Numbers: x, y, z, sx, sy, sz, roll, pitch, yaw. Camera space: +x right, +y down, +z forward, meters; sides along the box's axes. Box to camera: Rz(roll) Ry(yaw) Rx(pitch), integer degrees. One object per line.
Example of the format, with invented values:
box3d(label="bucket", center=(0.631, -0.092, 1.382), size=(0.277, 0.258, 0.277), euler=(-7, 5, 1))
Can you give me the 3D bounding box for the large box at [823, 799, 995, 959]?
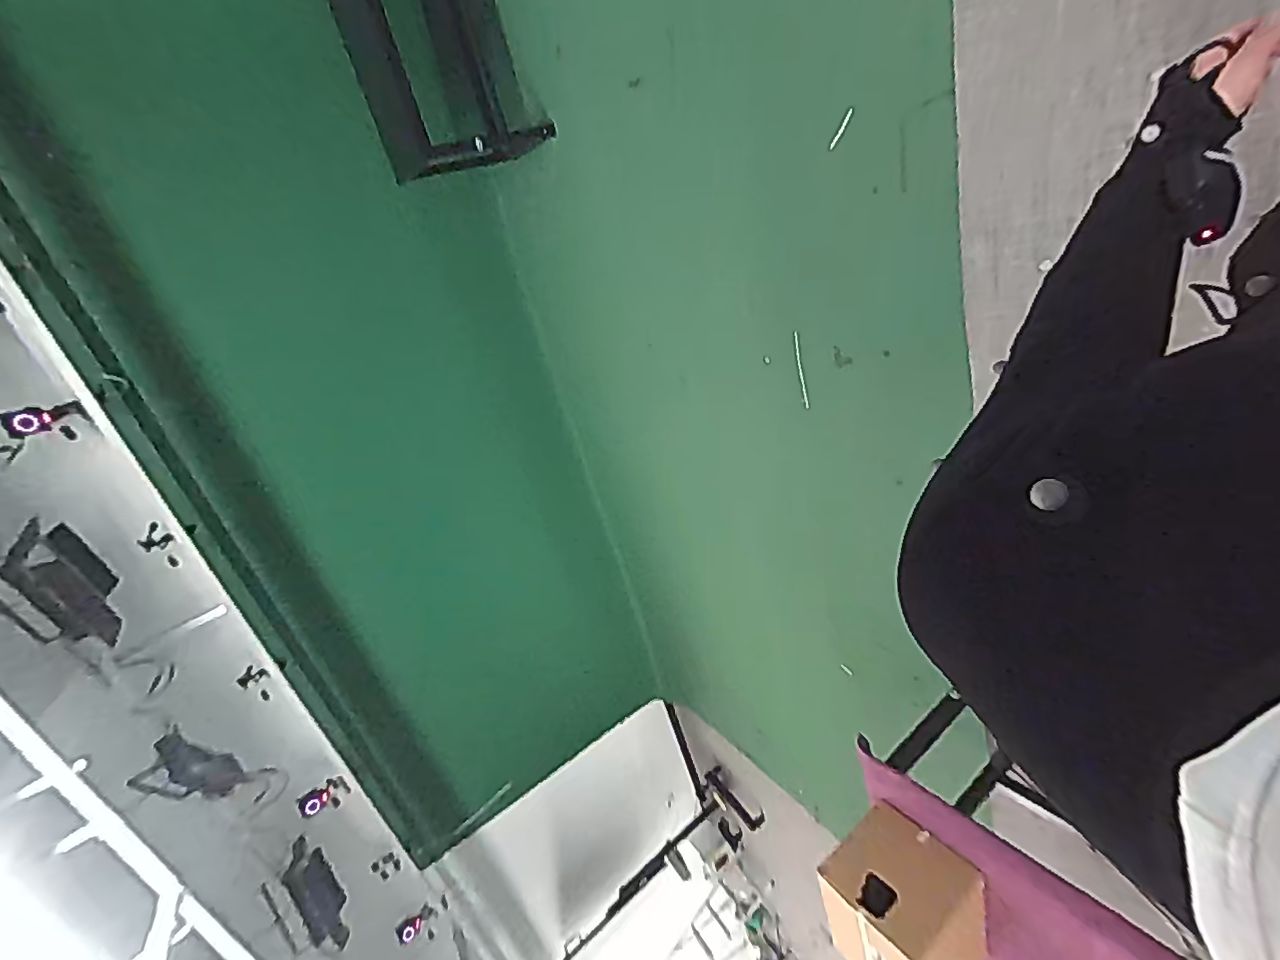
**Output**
box3d(label="large box", center=(0.783, 1.251, 1.565), size=(0.320, 0.320, 0.408), euler=(17, 130, 55))
